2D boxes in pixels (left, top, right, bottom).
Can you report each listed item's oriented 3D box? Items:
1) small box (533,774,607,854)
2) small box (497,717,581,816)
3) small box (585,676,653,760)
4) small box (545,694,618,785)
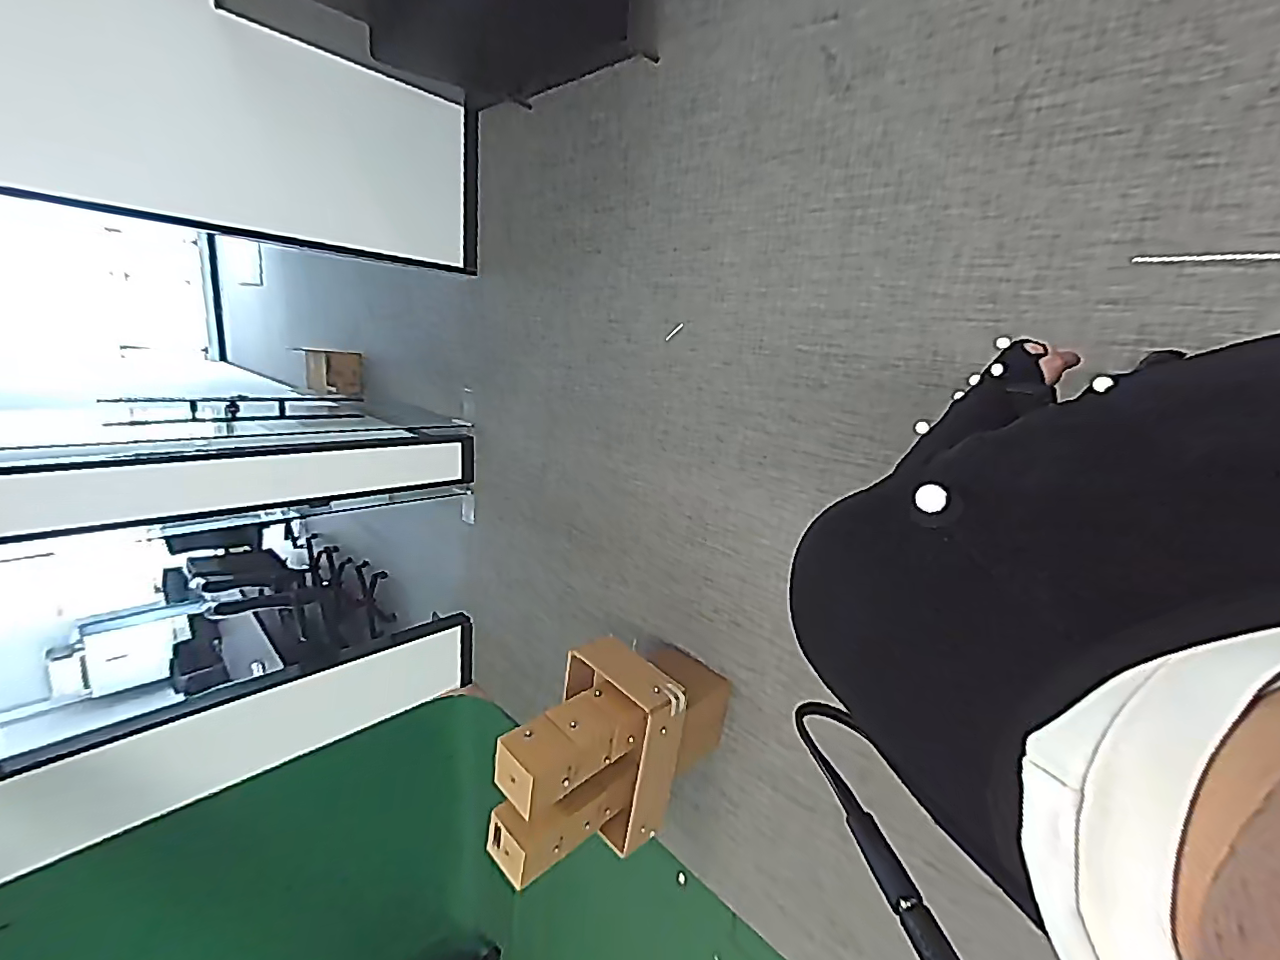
[{"bbox_3d":[-0.231,1.081,1.808,0.179,0.176,0.168,25,112,39],"label":"small box"},{"bbox_3d":[-0.302,0.841,1.612,0.179,0.176,0.168,24,113,38],"label":"small box"},{"bbox_3d":[-0.078,0.802,1.848,0.179,0.176,0.168,24,113,40],"label":"small box"},{"bbox_3d":[-0.192,0.820,1.731,0.179,0.176,0.168,24,112,40],"label":"small box"}]
